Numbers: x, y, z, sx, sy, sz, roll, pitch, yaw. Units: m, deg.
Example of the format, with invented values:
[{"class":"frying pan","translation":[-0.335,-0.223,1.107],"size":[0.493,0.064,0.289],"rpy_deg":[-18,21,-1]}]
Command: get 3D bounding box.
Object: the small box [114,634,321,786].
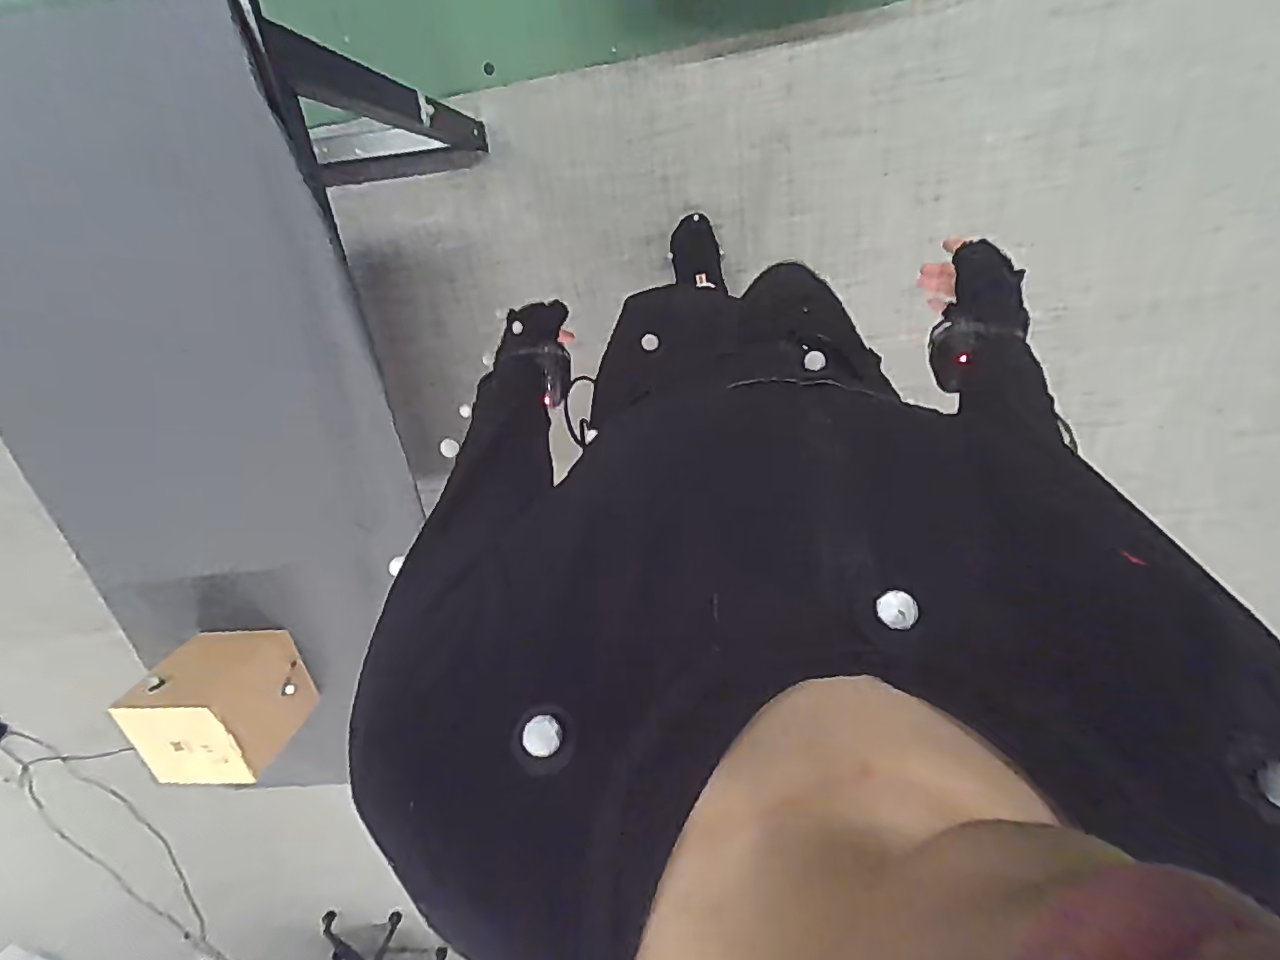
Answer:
[{"class":"small box","translation":[-0.677,0.371,0.890],"size":[0.179,0.176,0.168],"rpy_deg":[-4,114,7]}]
